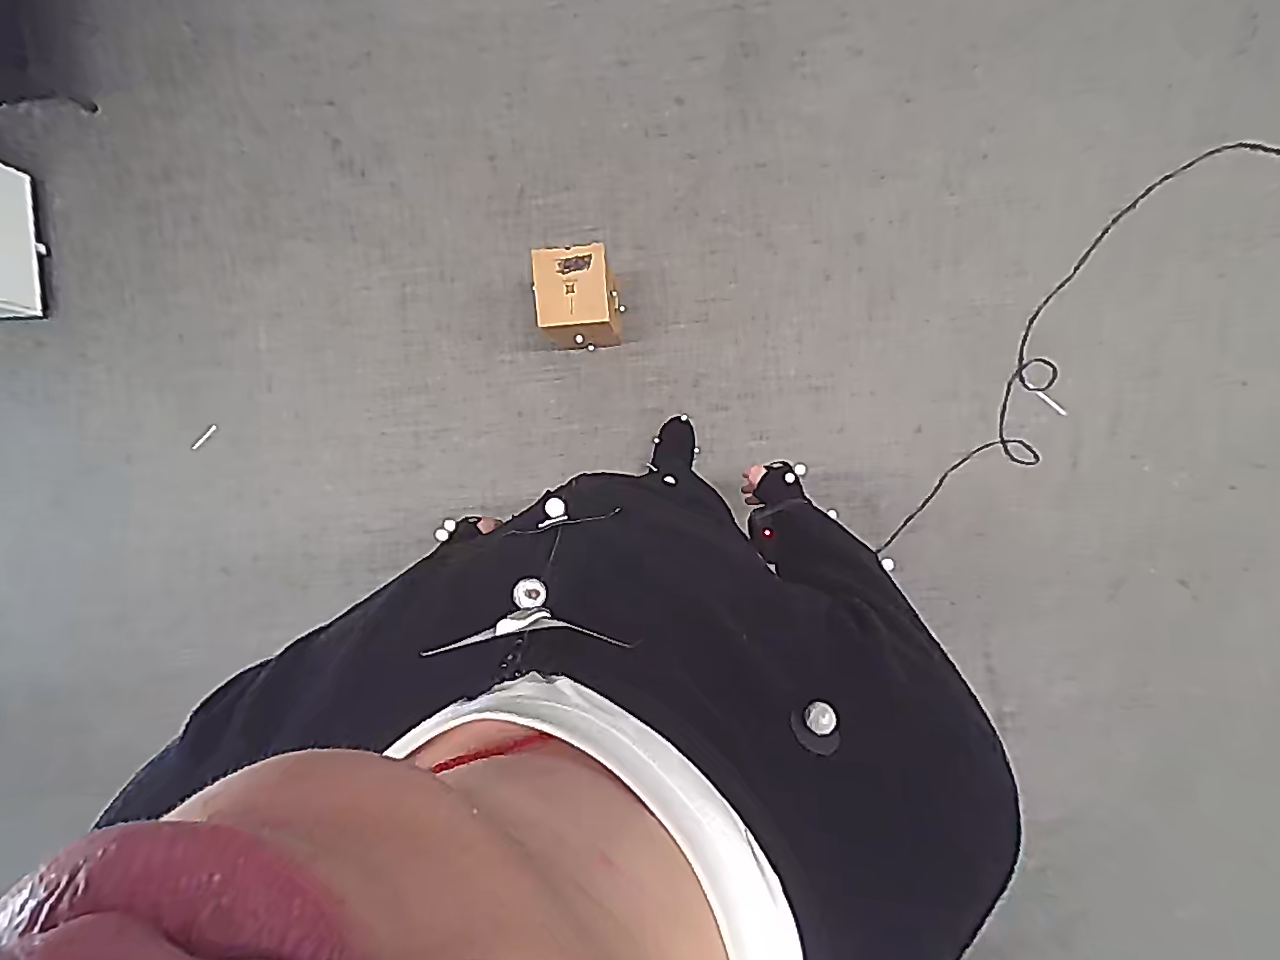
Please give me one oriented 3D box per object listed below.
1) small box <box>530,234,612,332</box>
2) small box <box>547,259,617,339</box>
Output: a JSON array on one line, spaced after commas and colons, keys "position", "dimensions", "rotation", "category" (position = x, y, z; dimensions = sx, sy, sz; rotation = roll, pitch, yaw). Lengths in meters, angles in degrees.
[{"position": [-0.159, -0.464, 1.291], "dimensions": [0.168, 0.176, 0.179], "rotation": [-4, 94, 3], "category": "small box"}, {"position": [-0.153, -0.481, 1.455], "dimensions": [0.179, 0.176, 0.168], "rotation": [-3, 93, 2], "category": "small box"}]
